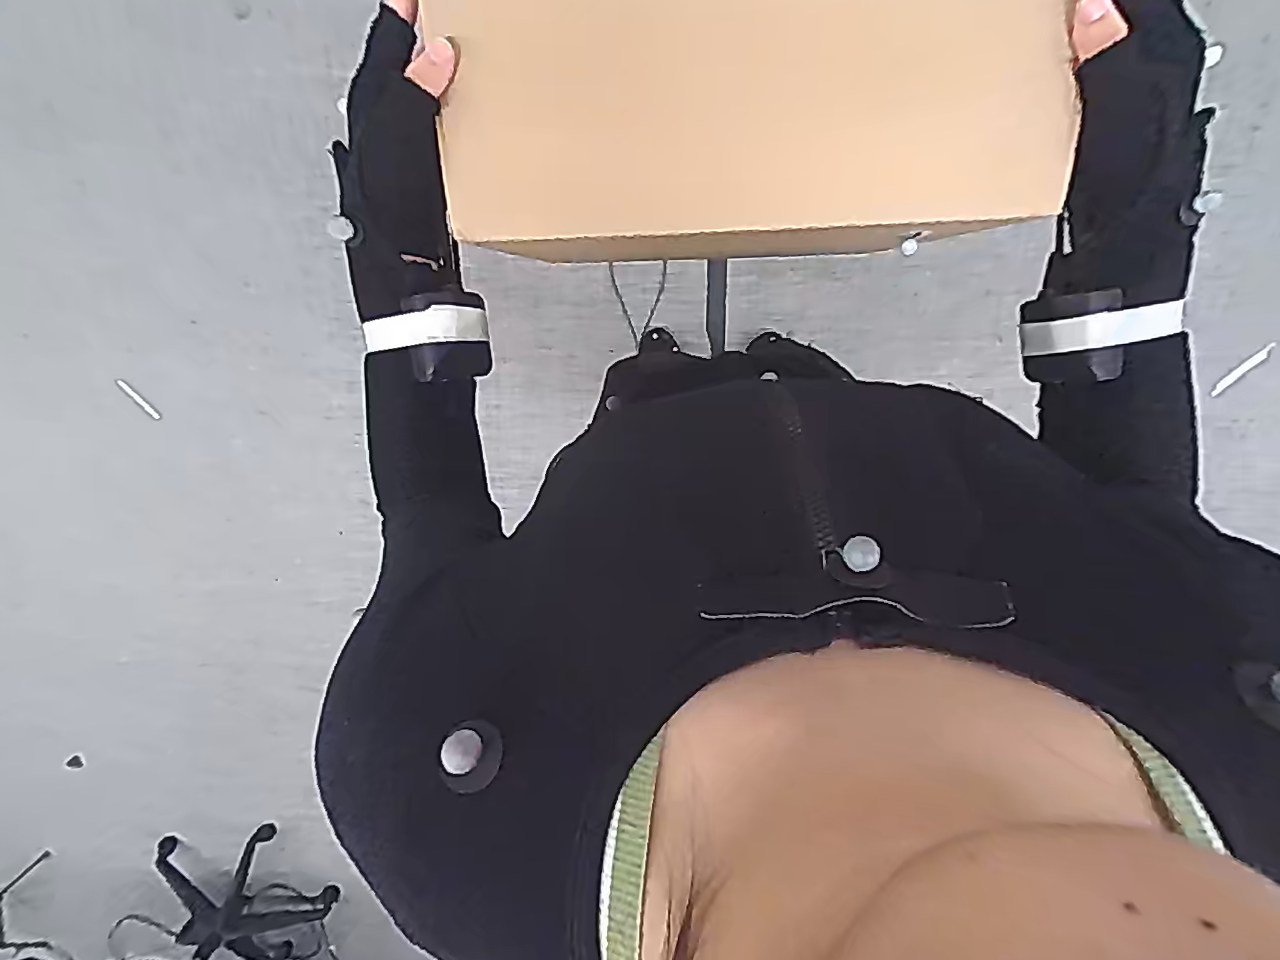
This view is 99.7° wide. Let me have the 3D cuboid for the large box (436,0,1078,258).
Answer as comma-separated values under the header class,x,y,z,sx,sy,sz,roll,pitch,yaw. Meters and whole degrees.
class,x,y,z,sx,sy,sz,roll,pitch,yaw
large box,0.076,-0.371,0.466,0.408,0.320,0.320,-1,109,4
